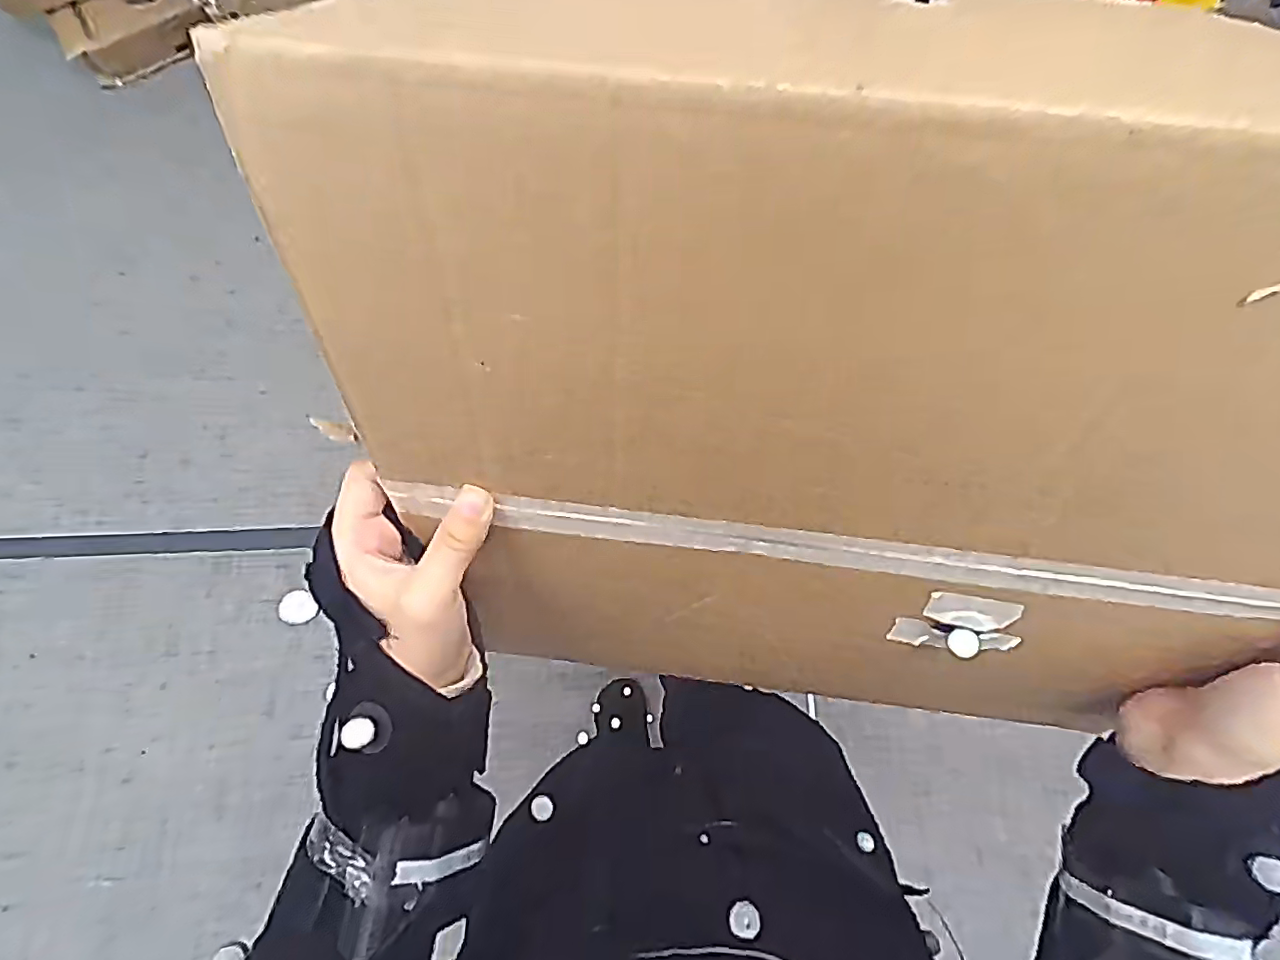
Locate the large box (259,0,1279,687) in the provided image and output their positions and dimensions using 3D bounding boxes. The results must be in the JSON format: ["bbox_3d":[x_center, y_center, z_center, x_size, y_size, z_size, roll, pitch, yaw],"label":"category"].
[{"bbox_3d":[0.110,-0.104,0.330,0.408,0.320,0.320,6,47,2],"label":"large box"}]
